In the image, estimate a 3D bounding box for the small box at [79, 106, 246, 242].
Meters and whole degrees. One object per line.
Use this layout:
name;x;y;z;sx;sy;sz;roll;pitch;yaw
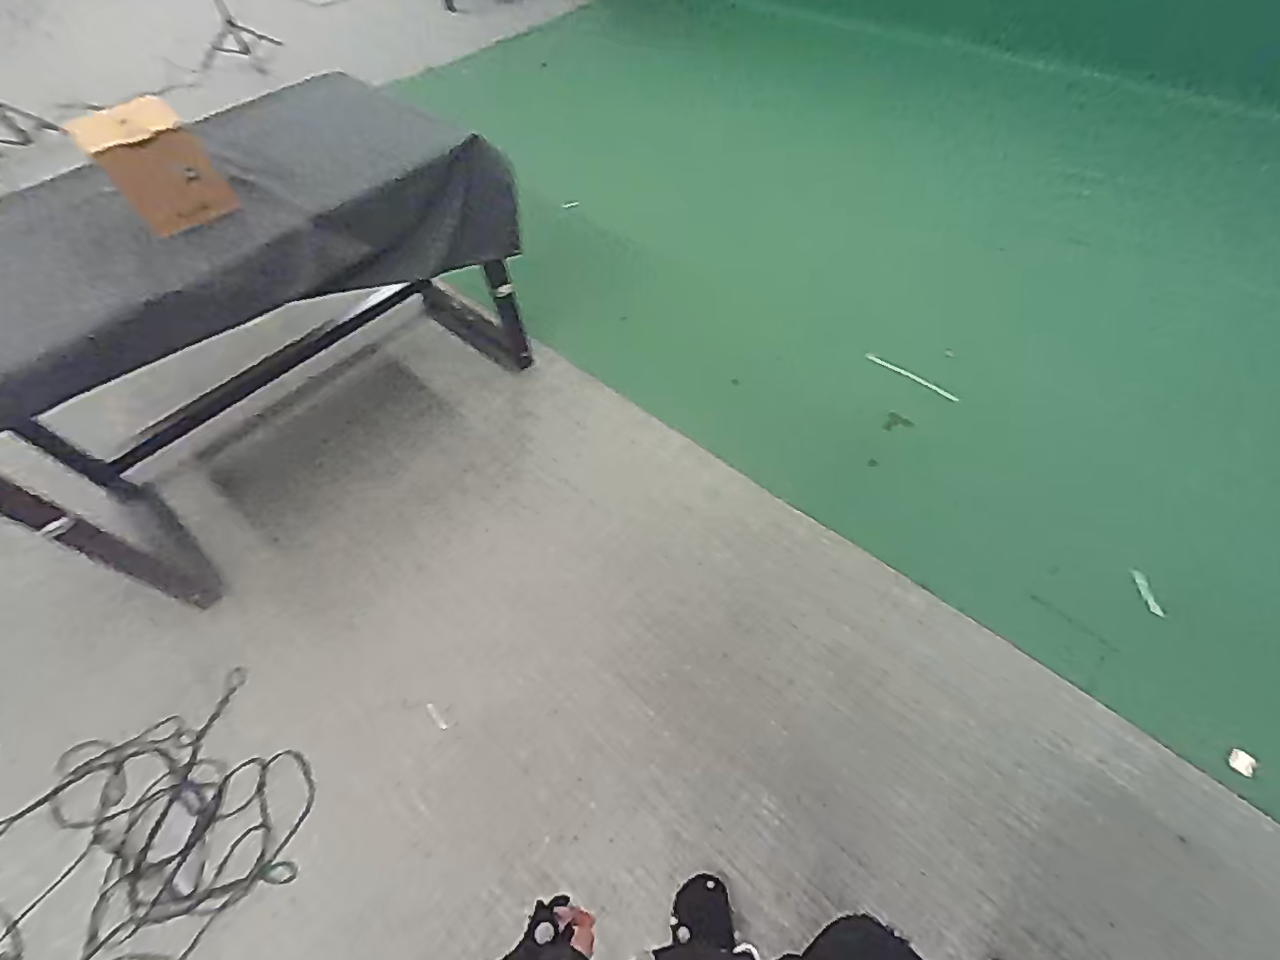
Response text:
small box;-0.937;-0.603;1.076;0.168;0.176;0.179;-39;61;-22
